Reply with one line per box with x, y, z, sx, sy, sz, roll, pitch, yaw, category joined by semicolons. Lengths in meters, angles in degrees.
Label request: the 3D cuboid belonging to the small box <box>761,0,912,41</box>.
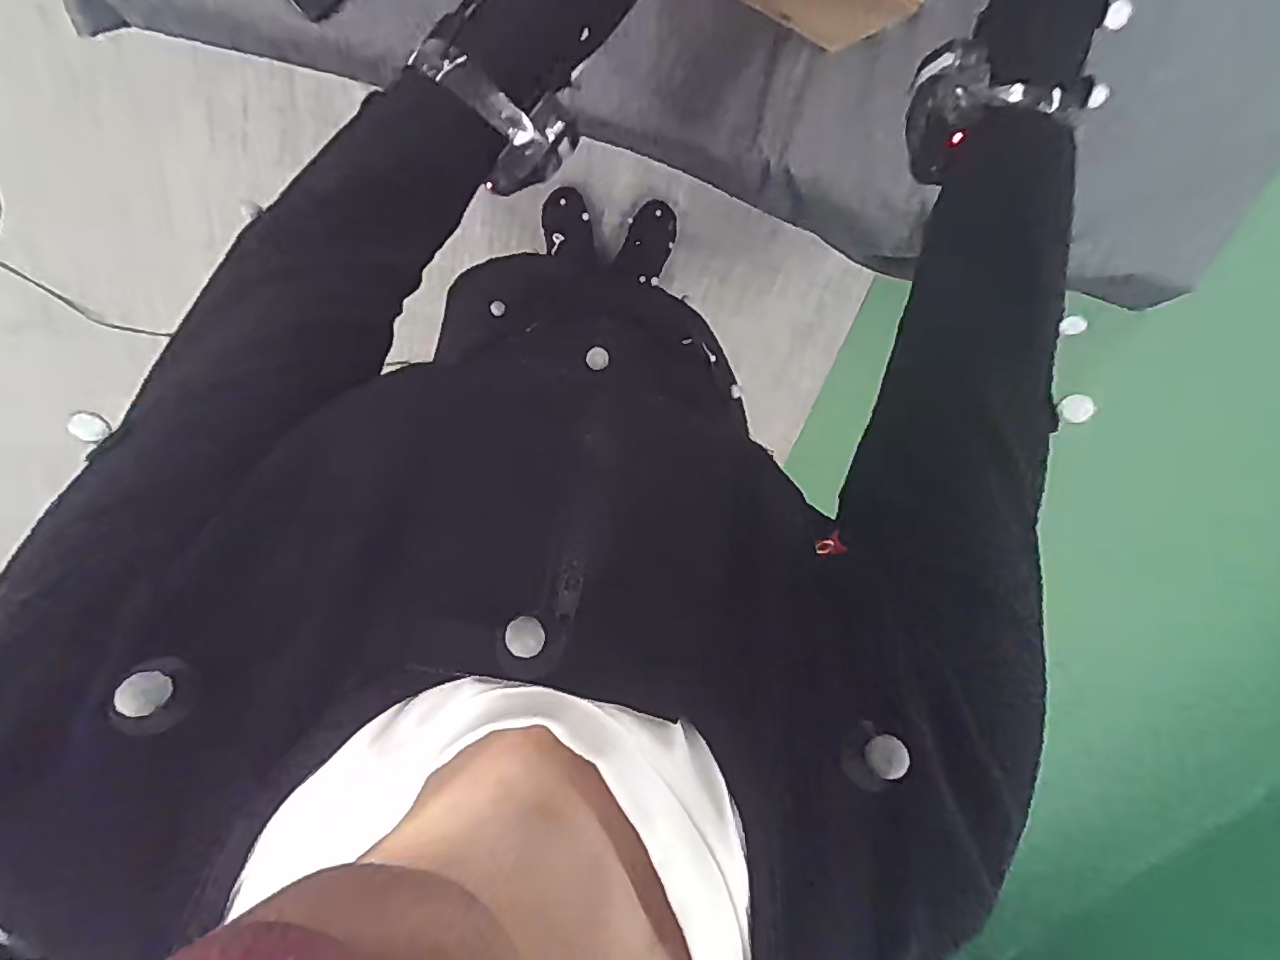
0.146;-0.466;0.393;0.168;0.176;0.179;18;117;-14;small box
